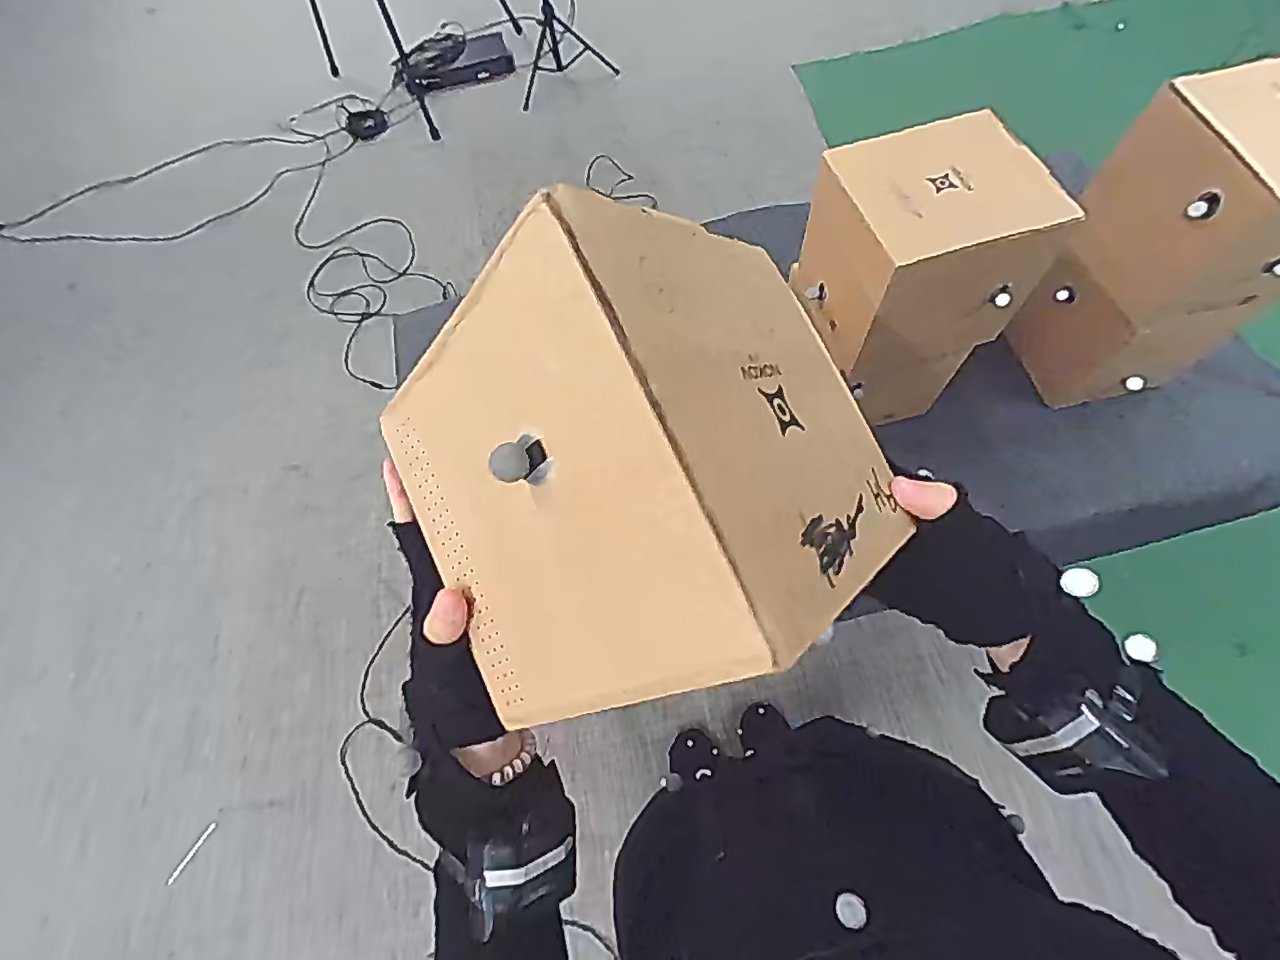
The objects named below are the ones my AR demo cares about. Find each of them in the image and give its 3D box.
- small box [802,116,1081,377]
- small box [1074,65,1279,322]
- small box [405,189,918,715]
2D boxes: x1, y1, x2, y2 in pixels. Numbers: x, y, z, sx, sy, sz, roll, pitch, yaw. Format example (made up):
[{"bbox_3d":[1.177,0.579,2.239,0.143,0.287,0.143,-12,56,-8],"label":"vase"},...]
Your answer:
[{"bbox_3d":[0.293,-0.238,0.576,0.179,0.176,0.168,-15,64,0],"label":"small box"},{"bbox_3d":[0.610,-0.286,0.562,0.168,0.176,0.179,-11,65,1],"label":"small box"},{"bbox_3d":[0.005,-0.005,0.286,0.168,0.176,0.179,-16,76,-49],"label":"small box"}]
